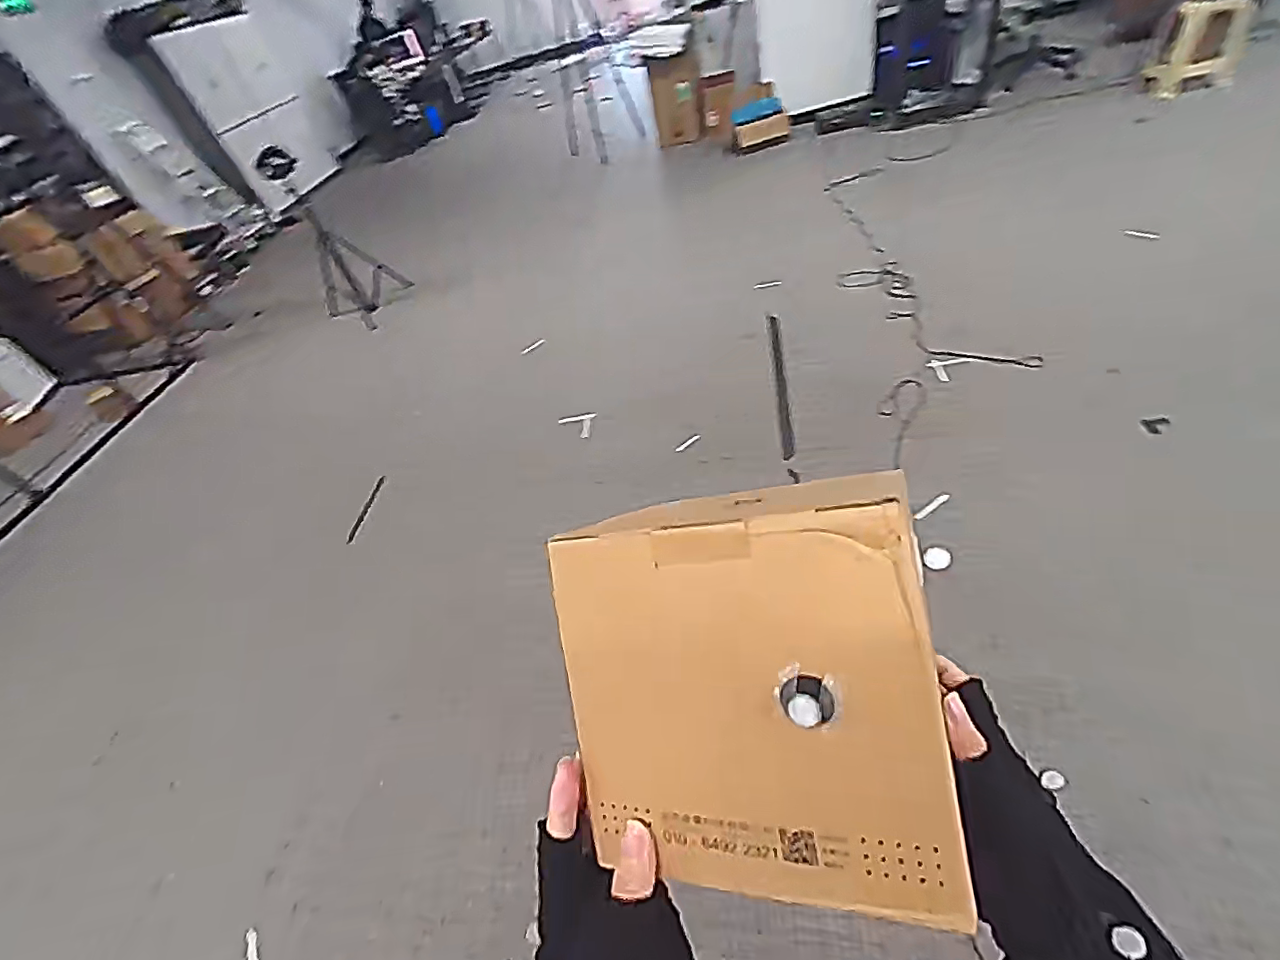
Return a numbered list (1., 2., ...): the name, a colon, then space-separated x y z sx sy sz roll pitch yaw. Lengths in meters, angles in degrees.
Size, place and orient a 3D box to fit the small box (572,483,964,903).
1. small box: 0.085 0.103 0.327 0.168 0.176 0.179 -9 -1 27
